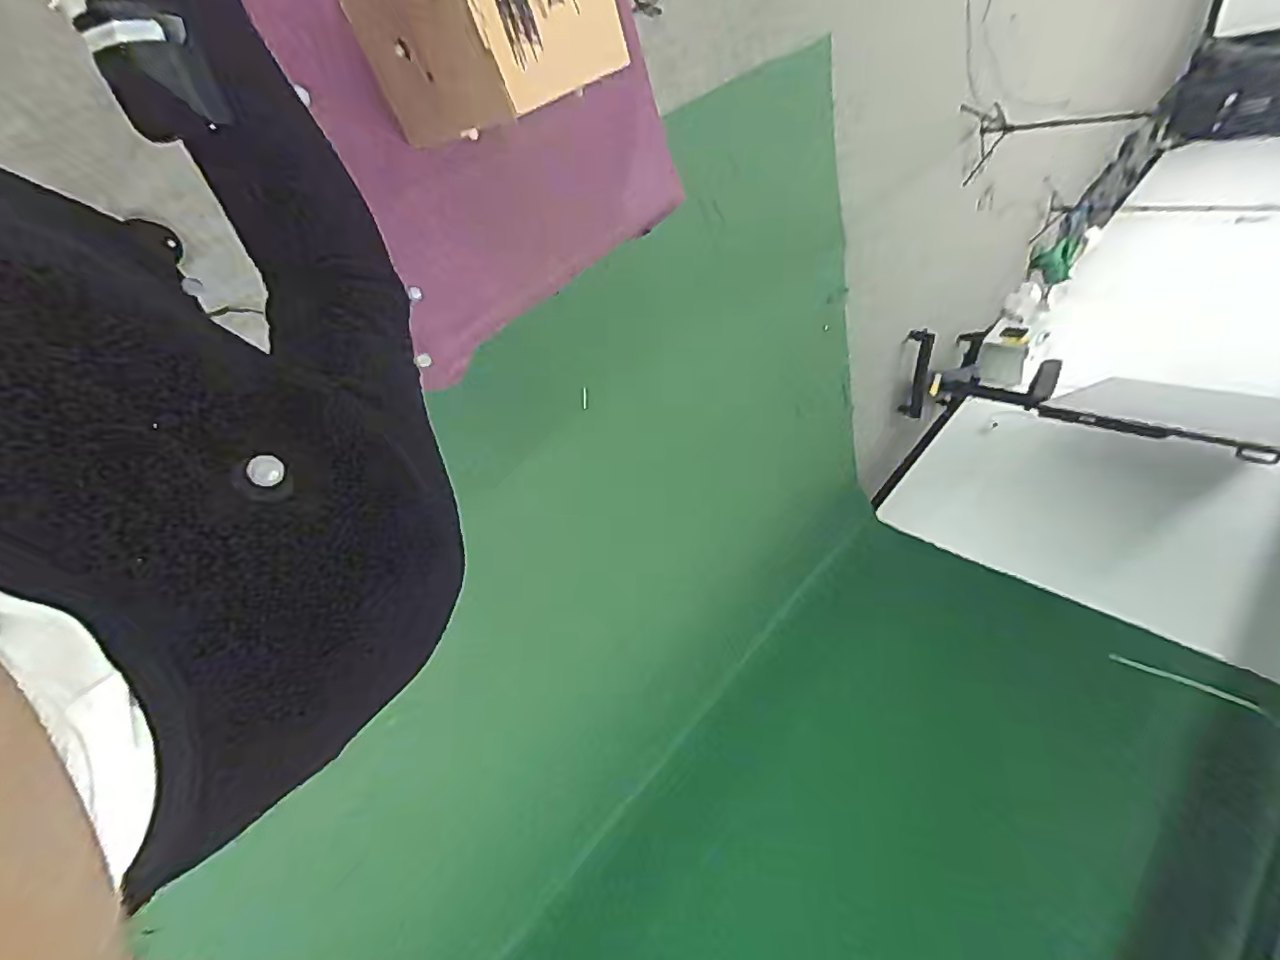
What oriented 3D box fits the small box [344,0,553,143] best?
[{"bbox_3d":[-0.253,-0.576,0.717,0.168,0.176,0.179,-42,134,-22],"label":"small box"}]
